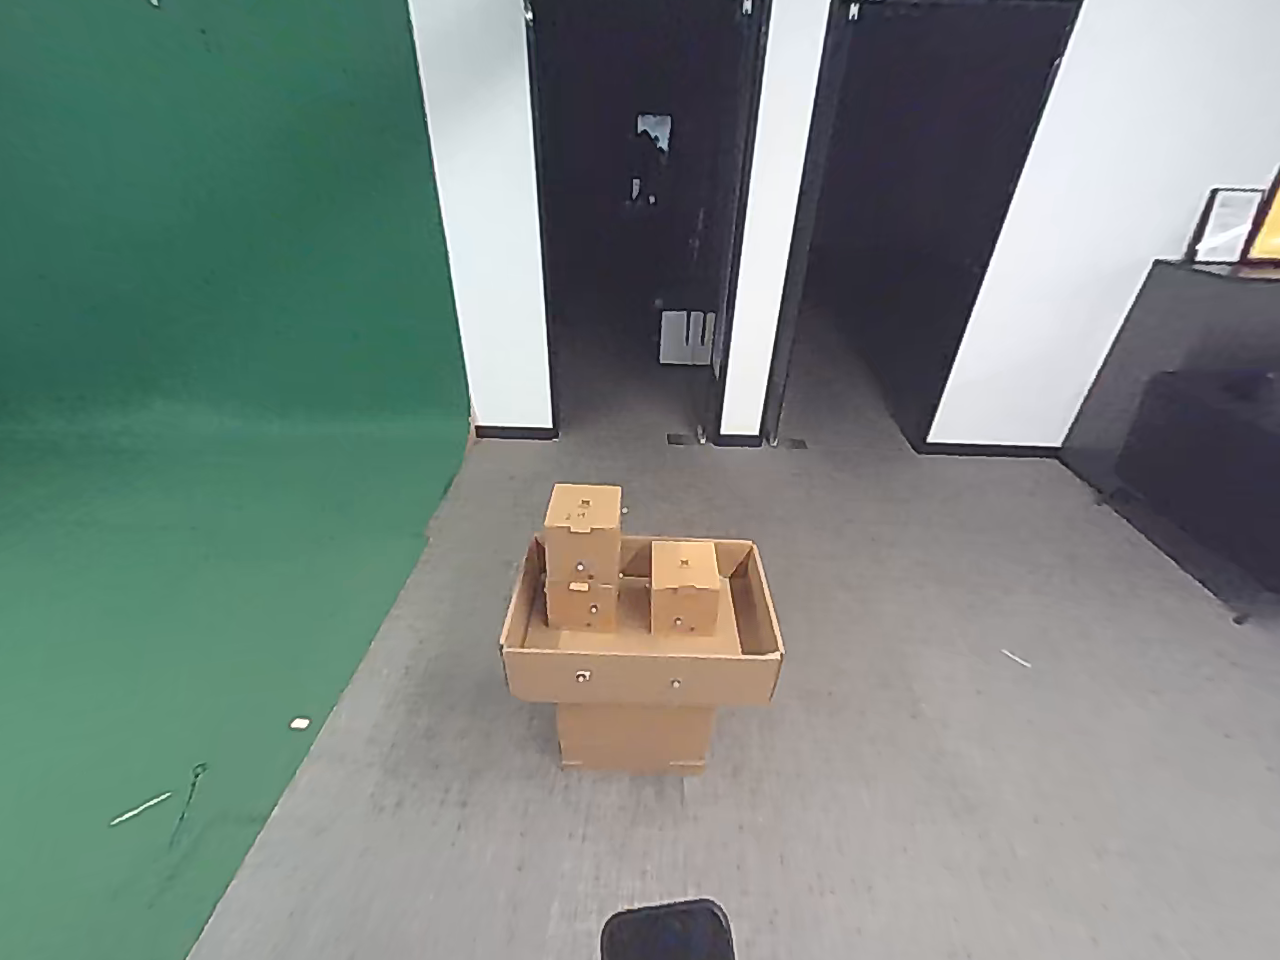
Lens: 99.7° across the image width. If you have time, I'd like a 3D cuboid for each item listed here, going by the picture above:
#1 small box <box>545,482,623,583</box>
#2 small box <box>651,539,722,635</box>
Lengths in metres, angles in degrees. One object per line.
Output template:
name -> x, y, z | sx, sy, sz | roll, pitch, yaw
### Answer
small box -> -0.130, 0.124, 1.305 | 0.168, 0.176, 0.179 | 2, 33, 0
small box -> 0.113, 0.273, 1.390 | 0.168, 0.176, 0.179 | 1, 34, 1
